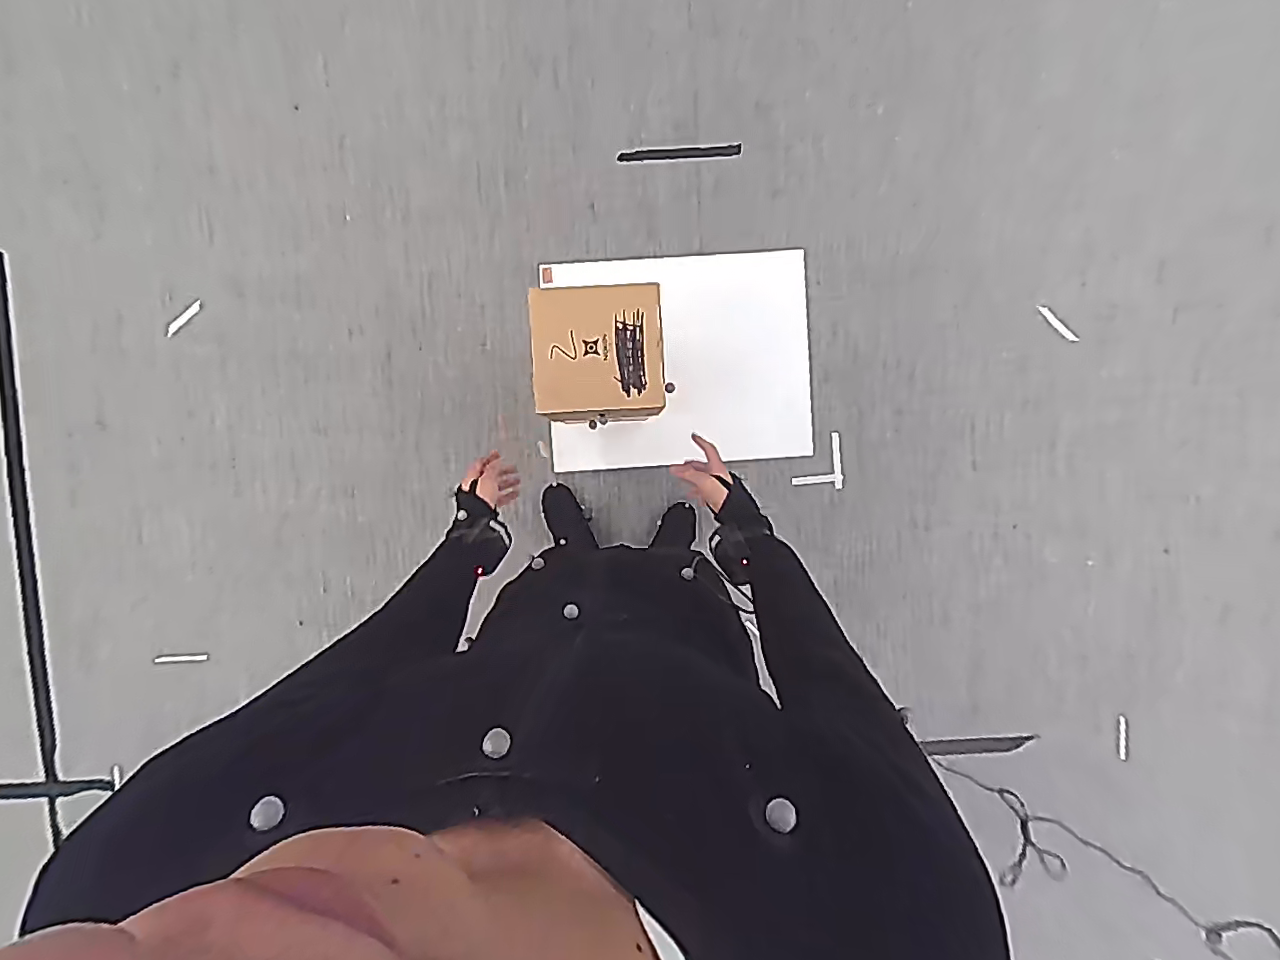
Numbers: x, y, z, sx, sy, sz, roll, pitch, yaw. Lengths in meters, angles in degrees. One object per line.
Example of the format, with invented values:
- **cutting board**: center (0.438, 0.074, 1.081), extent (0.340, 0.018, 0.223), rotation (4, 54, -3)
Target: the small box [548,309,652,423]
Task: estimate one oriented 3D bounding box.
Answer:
- **small box**: center (-0.065, -0.191, 0.956), extent (0.168, 0.176, 0.179), rotation (-3, 93, -2)
